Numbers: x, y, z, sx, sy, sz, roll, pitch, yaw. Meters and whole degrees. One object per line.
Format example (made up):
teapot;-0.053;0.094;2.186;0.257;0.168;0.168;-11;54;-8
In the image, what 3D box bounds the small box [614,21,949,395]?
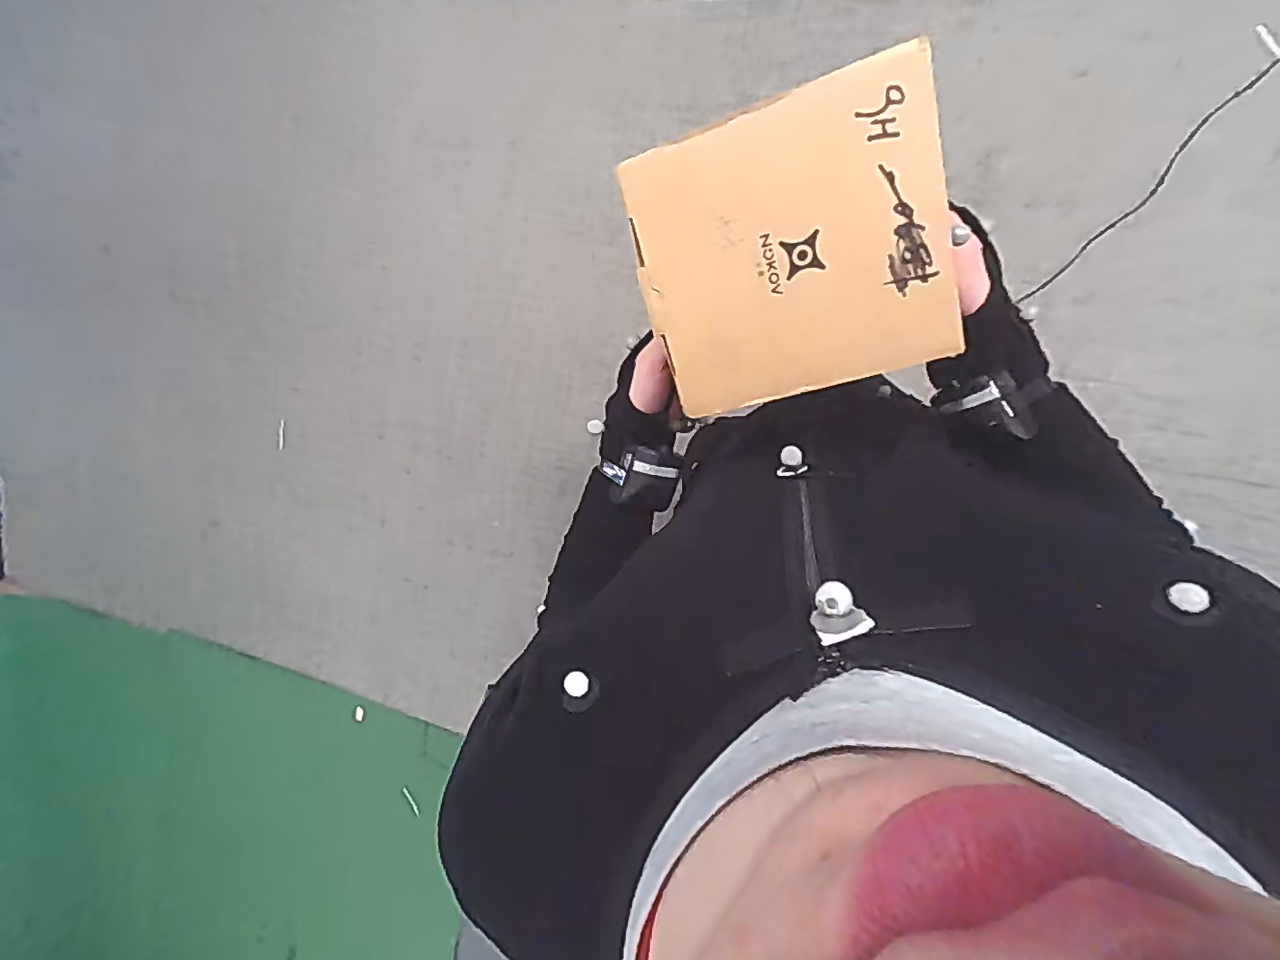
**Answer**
small box;0.103;-0.174;0.394;0.179;0.176;0.168;-10;110;18
